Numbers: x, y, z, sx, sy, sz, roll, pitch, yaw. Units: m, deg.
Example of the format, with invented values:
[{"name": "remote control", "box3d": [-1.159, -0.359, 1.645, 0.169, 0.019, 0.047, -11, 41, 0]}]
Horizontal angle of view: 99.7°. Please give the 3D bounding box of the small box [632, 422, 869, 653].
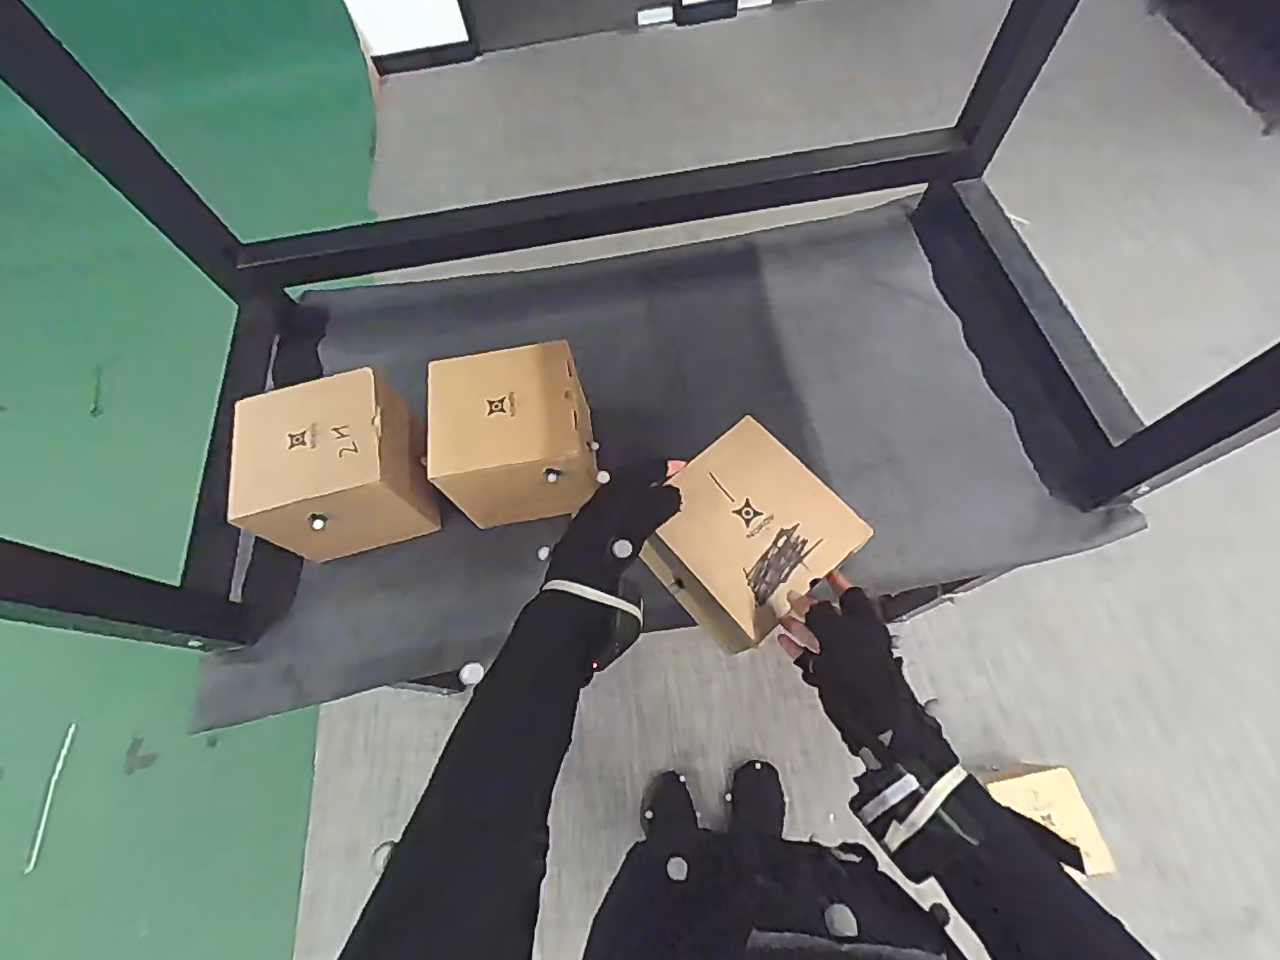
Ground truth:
[{"name": "small box", "box3d": [0.109, 0.075, 0.603, 0.168, 0.176, 0.179, -38, 72, -14]}]
